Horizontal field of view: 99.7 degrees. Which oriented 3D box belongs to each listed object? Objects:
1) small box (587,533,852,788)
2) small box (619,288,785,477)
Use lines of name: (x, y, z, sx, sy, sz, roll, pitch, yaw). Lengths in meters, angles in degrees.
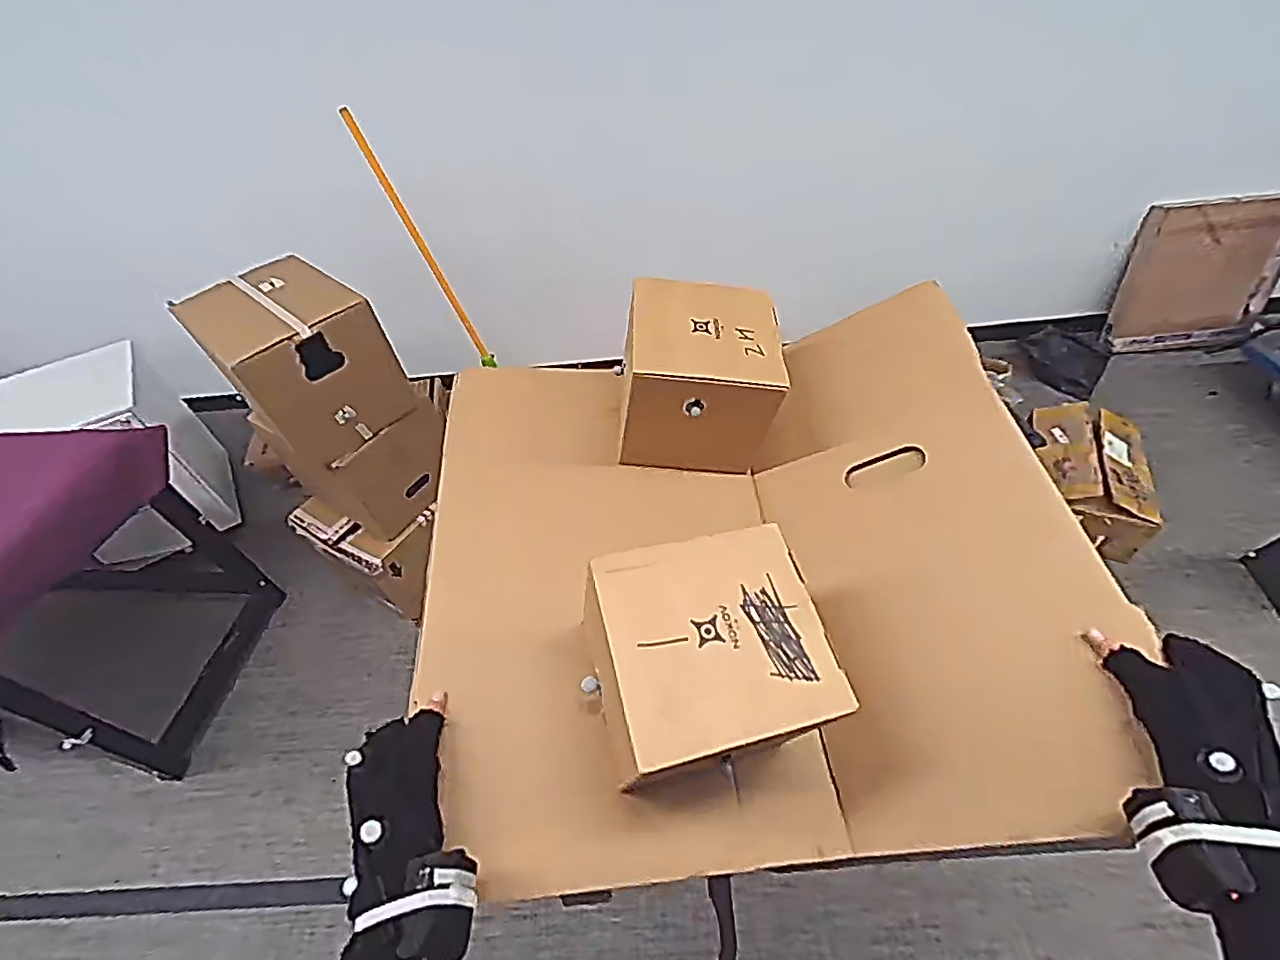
small box: (0.053, 0.170, 0.502, 0.179, 0.176, 0.168, -9, 59, -13)
small box: (0.068, -0.119, 0.698, 0.179, 0.176, 0.168, 5, 56, -6)
